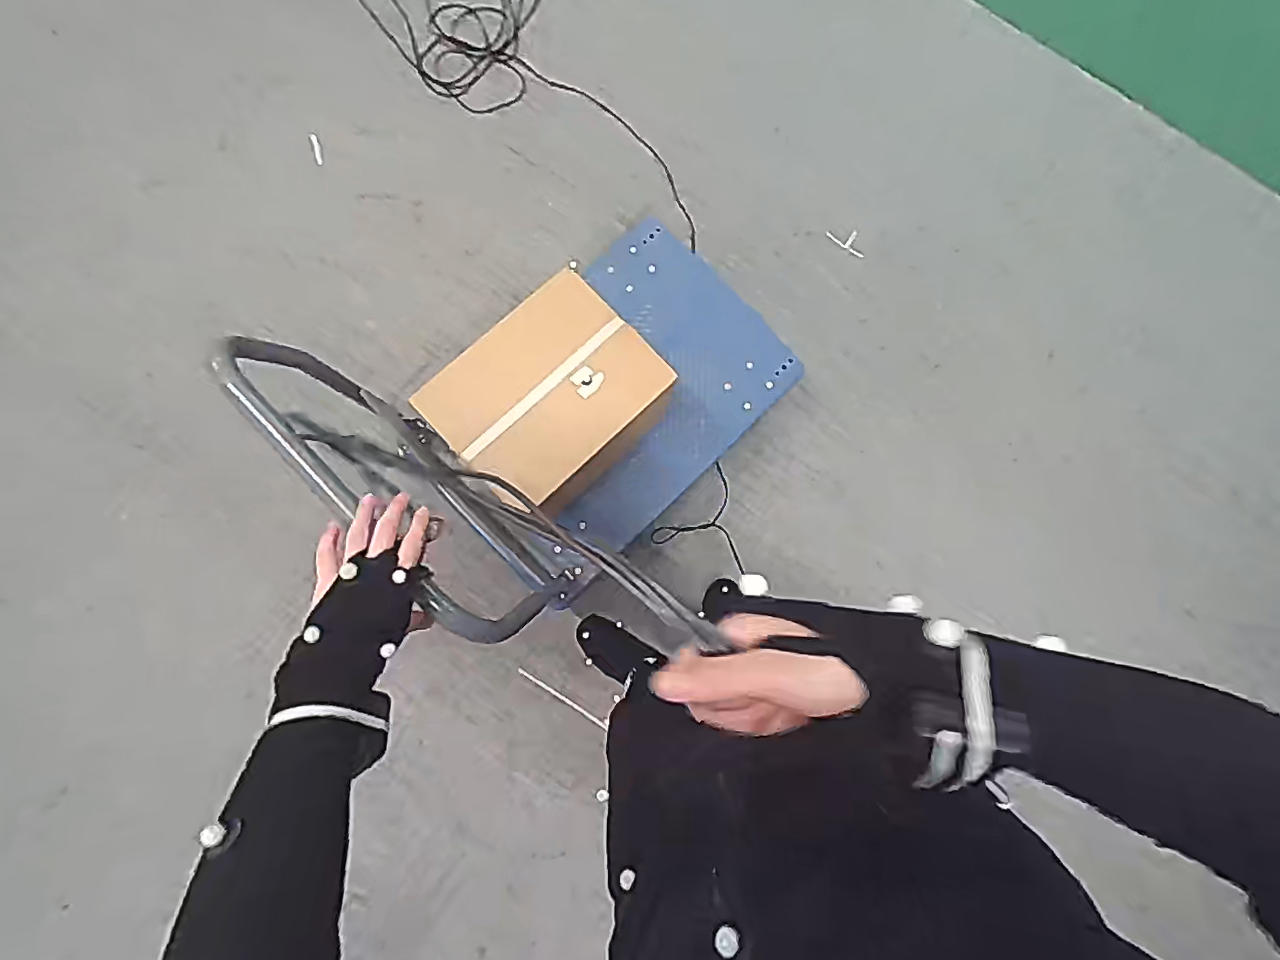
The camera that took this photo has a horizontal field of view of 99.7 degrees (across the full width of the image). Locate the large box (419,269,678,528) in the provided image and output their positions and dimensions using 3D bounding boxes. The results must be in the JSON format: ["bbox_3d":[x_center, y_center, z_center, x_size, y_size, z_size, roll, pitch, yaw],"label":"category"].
[{"bbox_3d":[-0.178,-0.150,1.167,0.408,0.320,0.320,-43,86,-9],"label":"large box"}]
